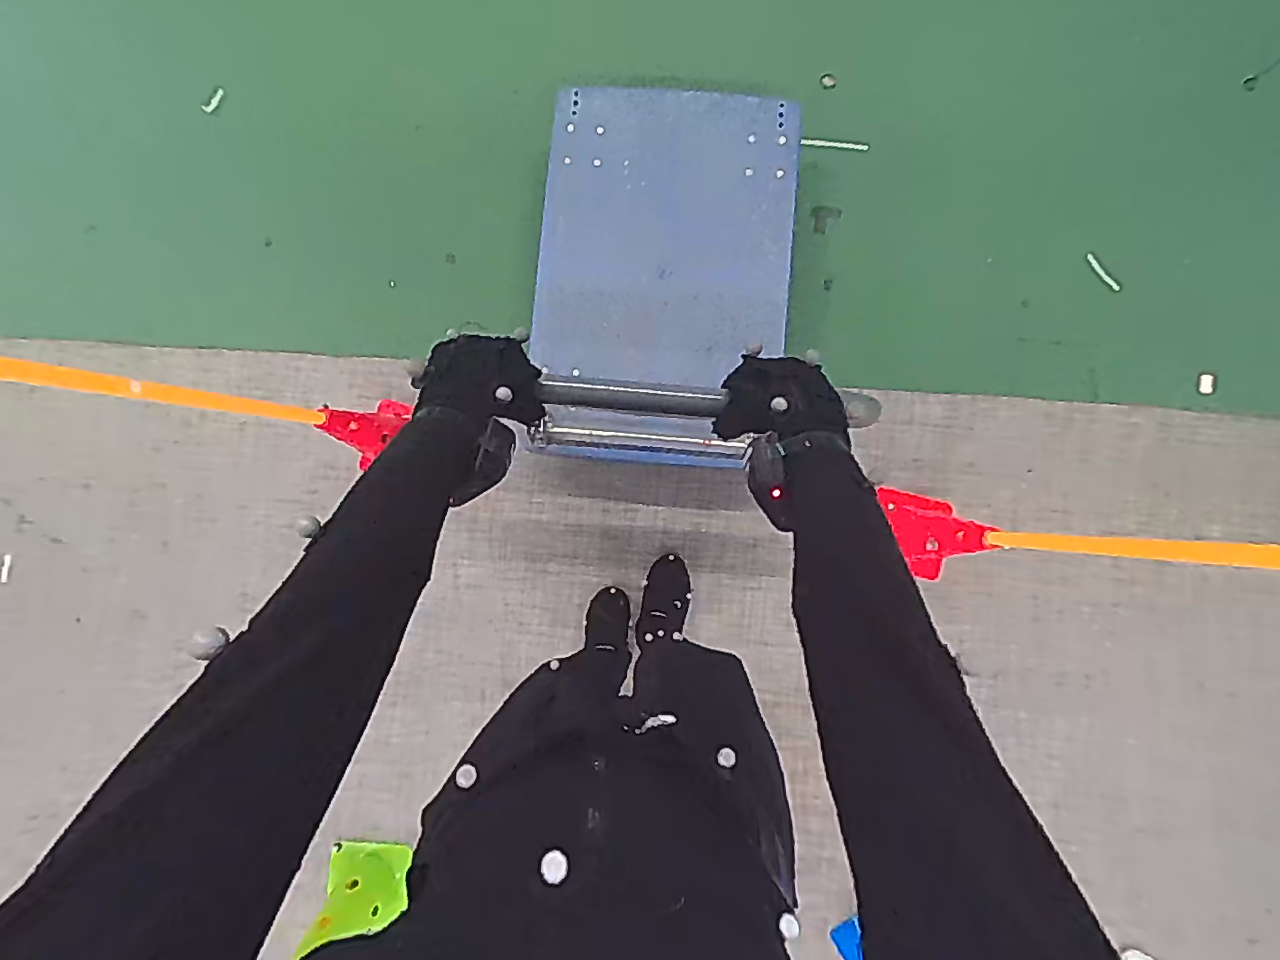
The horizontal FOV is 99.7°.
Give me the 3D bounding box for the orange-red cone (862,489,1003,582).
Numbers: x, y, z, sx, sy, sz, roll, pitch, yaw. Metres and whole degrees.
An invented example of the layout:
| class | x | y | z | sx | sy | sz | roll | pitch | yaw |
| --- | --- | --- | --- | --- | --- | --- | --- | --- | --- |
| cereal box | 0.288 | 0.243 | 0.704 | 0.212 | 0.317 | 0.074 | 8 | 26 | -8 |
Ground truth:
| class | x | y | z | sx | sy | sz | roll | pitch | yaw |
| --- | --- | --- | --- | --- | --- | --- | --- | --- | --- |
| orange-red cone | 0.659 | 0.124 | 1.170 | 0.198 | 0.360 | 0.199 | 16 | 87 | 3 |
